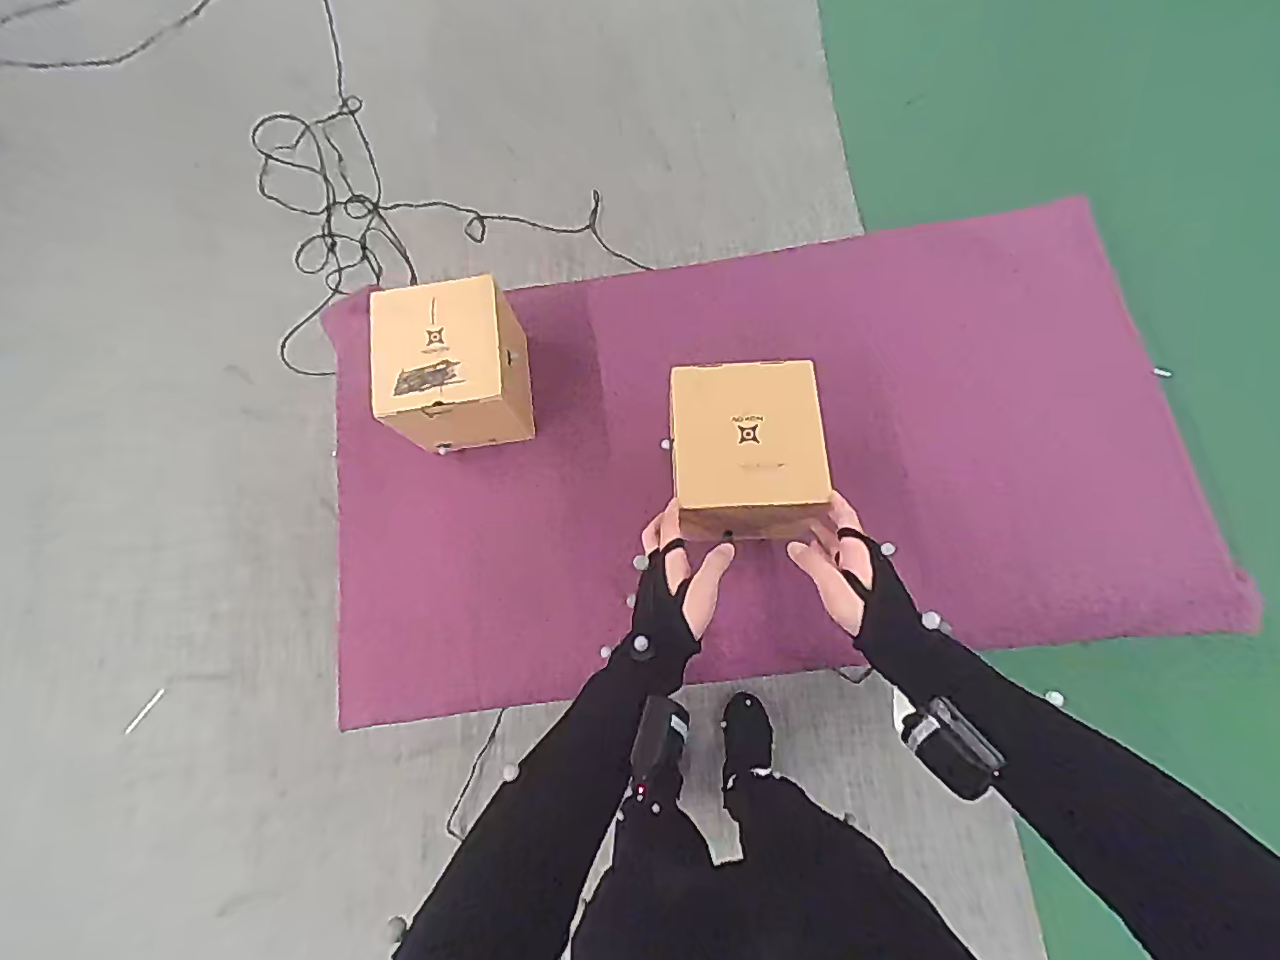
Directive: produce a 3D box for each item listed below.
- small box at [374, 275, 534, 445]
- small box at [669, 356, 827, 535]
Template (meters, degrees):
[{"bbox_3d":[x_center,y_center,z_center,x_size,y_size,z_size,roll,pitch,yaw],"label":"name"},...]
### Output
[{"bbox_3d":[-0.253,-0.156,0.765,0.168,0.176,0.179,-8,76,1],"label":"small box"},{"bbox_3d":[0.121,-0.036,0.677,0.168,0.176,0.179,-1,71,3],"label":"small box"}]
